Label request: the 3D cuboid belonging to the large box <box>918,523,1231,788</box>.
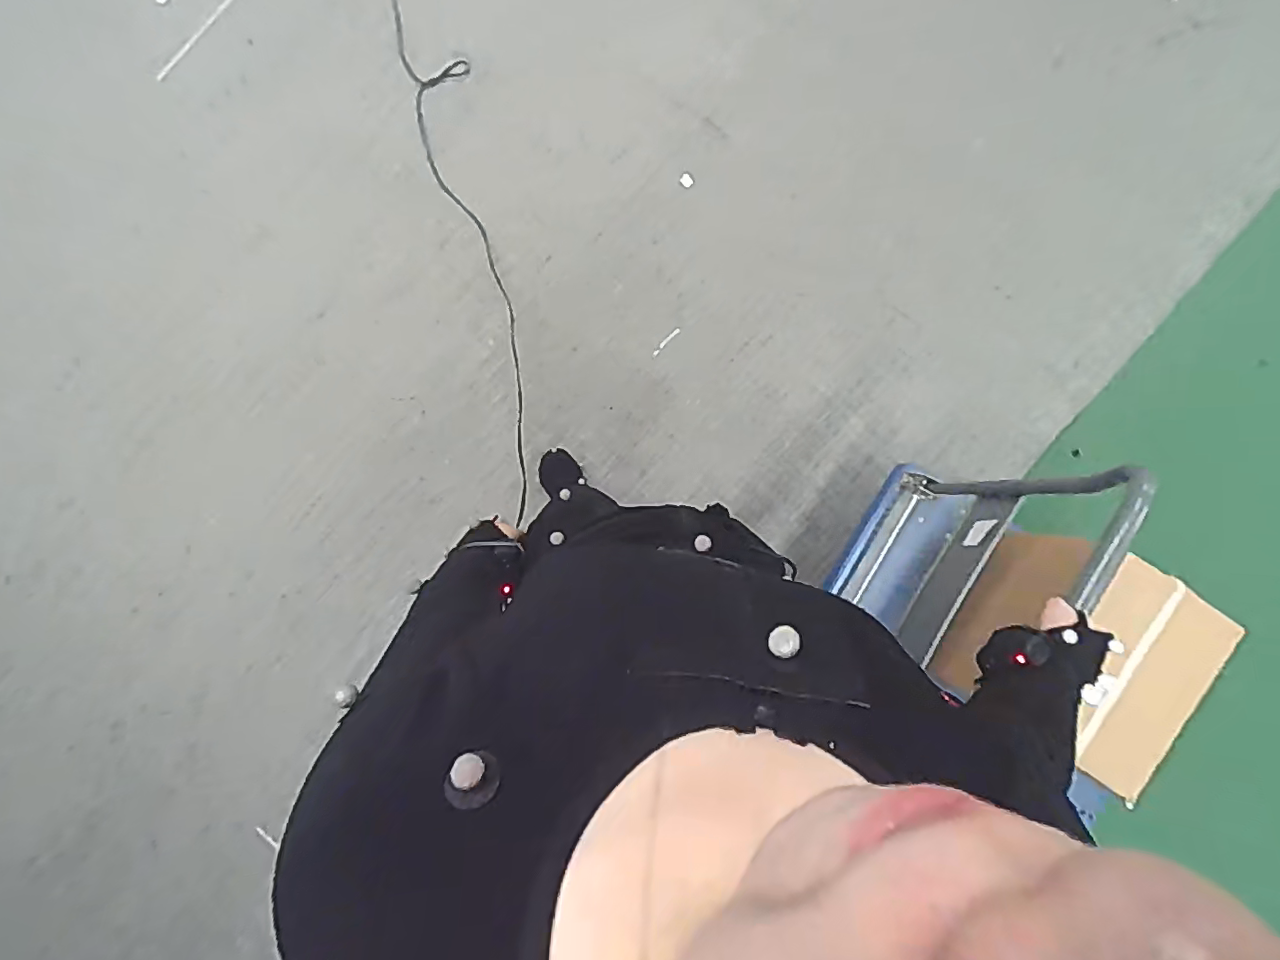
[{"bbox_3d":[0.917,0.350,1.196,0.320,0.320,0.408,34,90,0],"label":"large box"}]
